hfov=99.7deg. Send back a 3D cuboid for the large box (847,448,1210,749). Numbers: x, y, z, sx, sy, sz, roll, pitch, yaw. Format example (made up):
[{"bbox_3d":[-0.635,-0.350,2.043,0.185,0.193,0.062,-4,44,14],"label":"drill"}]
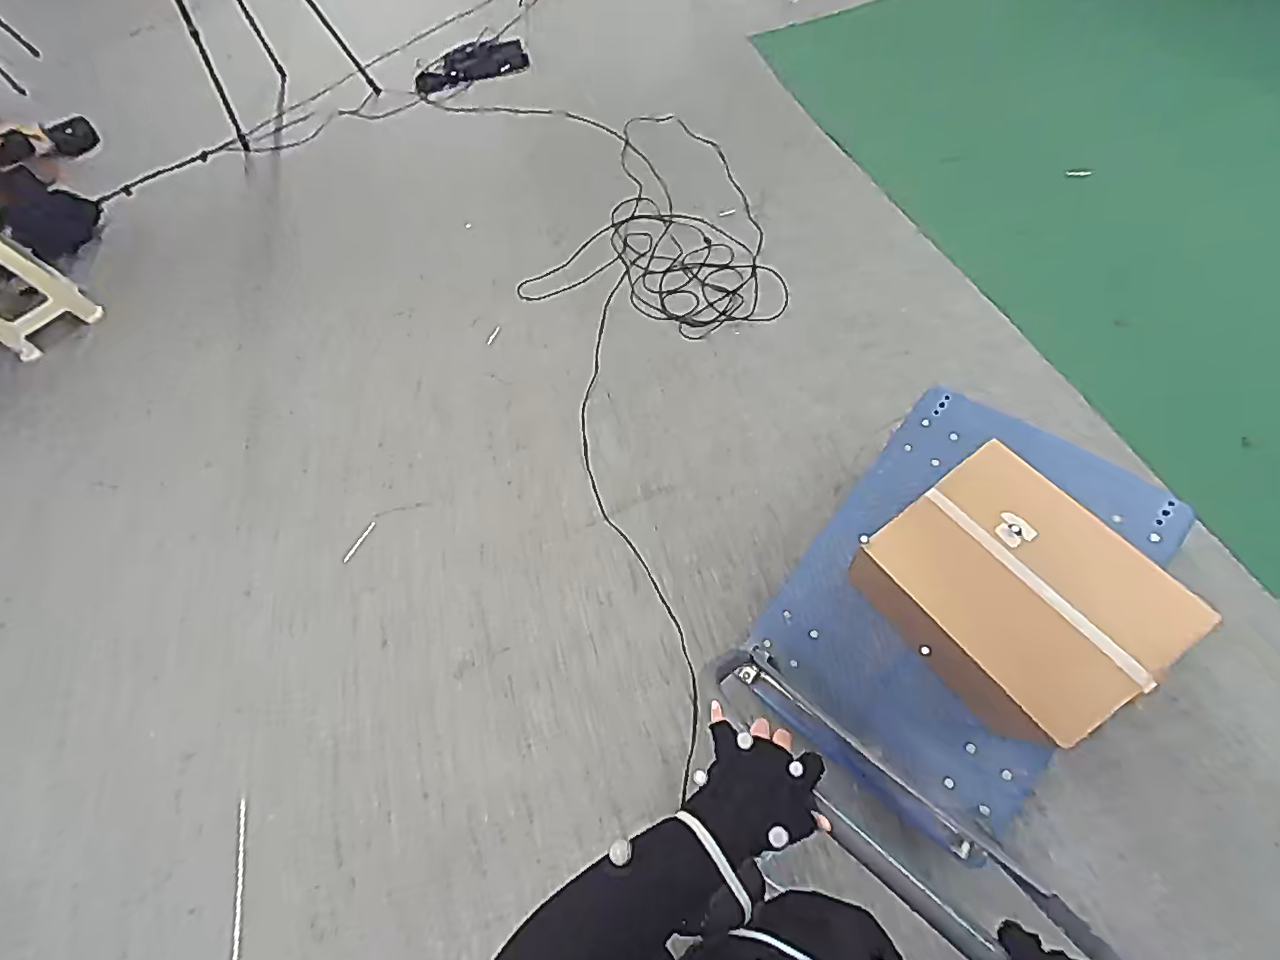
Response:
[{"bbox_3d":[0.660,0.222,1.019,0.320,0.320,0.408,-38,64,-1],"label":"large box"}]
